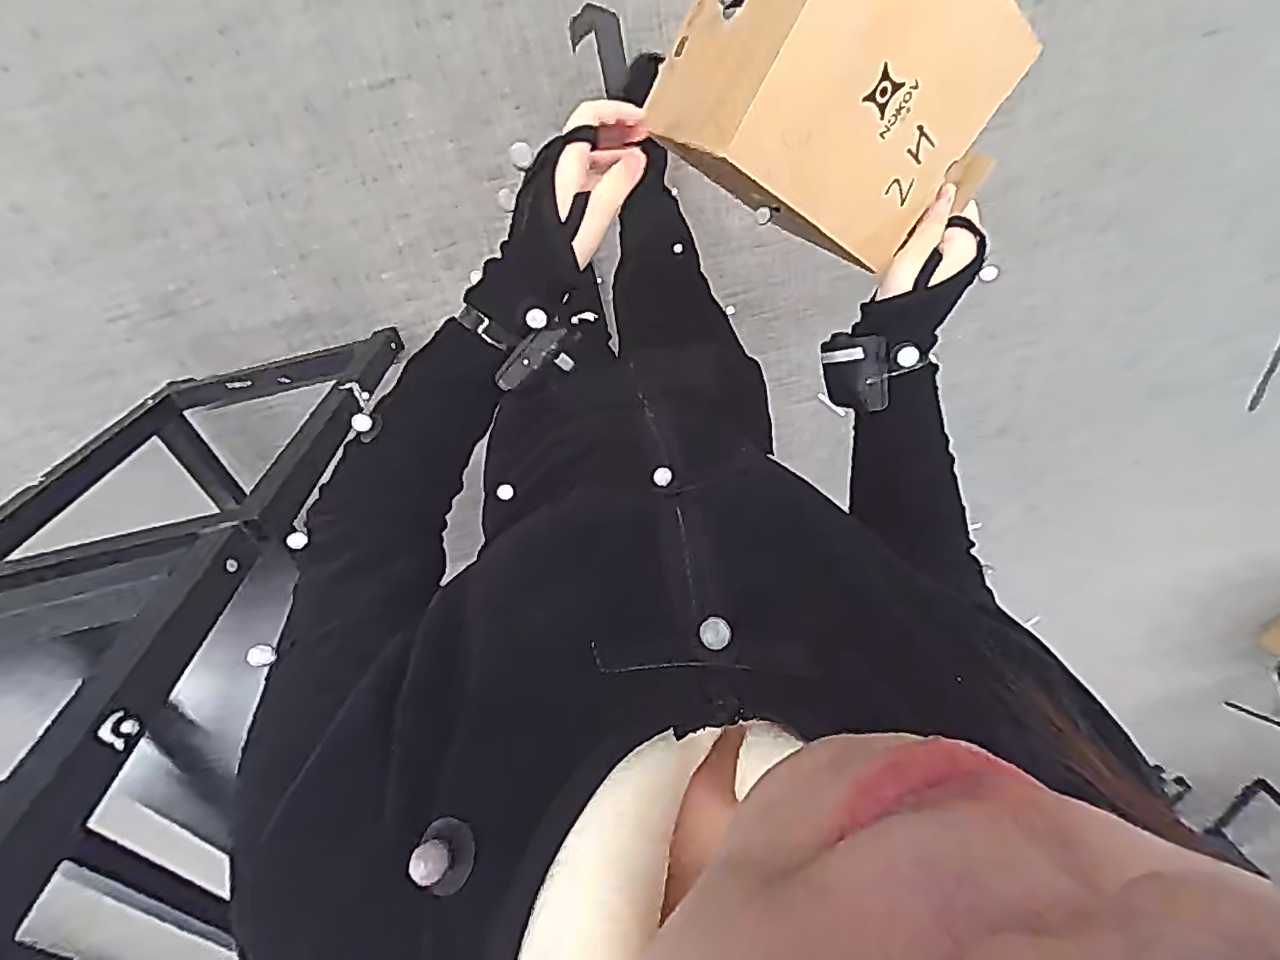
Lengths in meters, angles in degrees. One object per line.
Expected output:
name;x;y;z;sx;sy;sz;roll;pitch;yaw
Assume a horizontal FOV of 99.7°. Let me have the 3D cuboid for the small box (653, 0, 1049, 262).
small box;0.135;-0.296;0.402;0.179;0.176;0.168;15;120;-33
